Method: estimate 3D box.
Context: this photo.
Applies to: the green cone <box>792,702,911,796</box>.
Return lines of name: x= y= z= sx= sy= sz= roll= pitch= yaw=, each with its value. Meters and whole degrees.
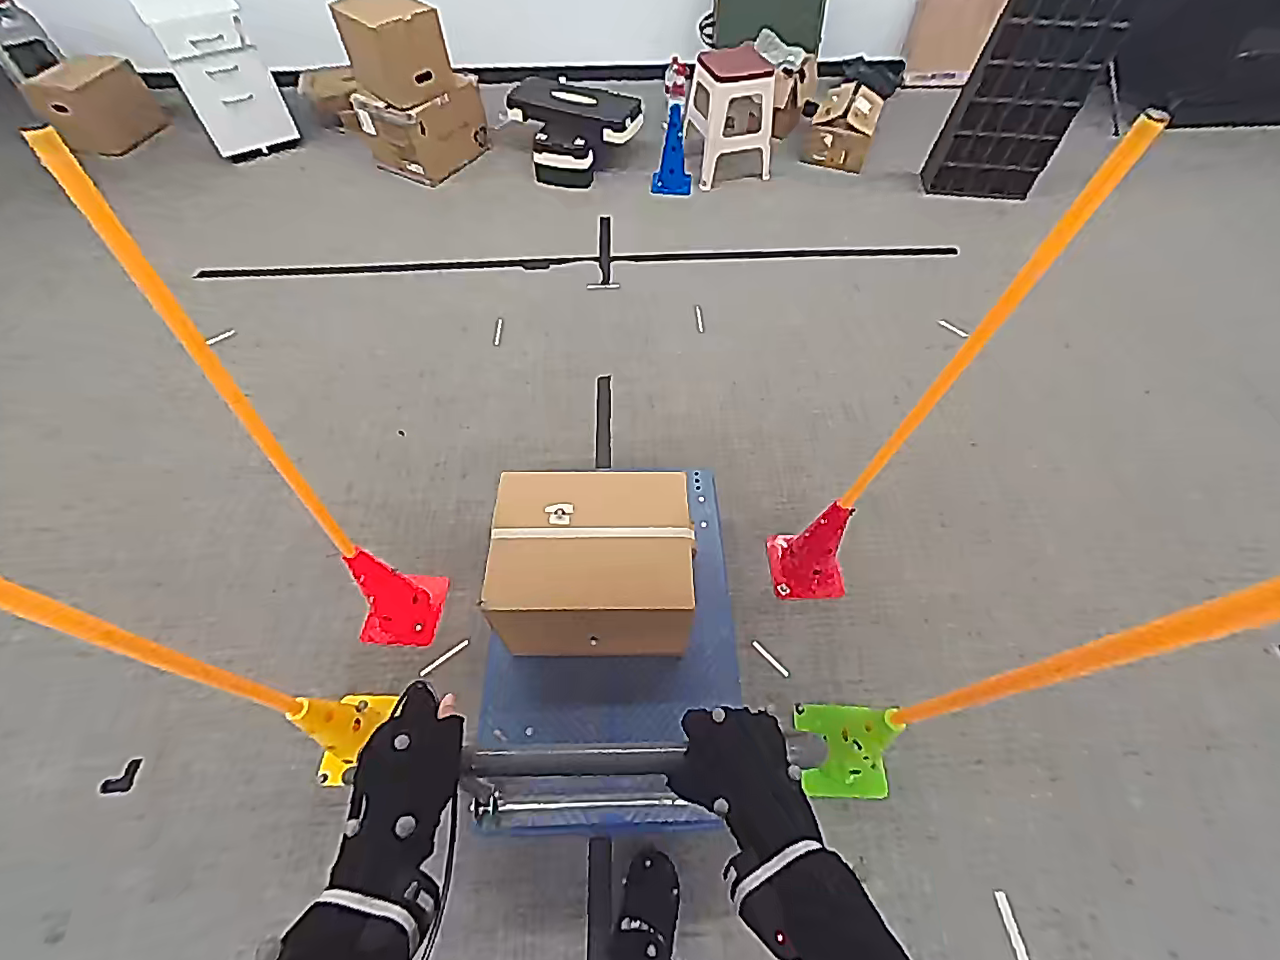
green cone: x=0.480 y=0.550 z=1.164 sx=0.202 sy=0.368 sz=0.200 roll=2 pitch=56 yaw=0

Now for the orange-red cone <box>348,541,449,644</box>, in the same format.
orange-red cone: x=-0.644 y=0.250 z=1.357 sx=0.198 sy=0.360 sz=0.199 roll=5 pitch=55 yaw=2

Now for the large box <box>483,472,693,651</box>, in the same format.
large box: x=-0.098 y=0.194 z=1.224 sx=0.408 sy=0.320 sz=0.320 roll=0 pitch=56 yaw=0

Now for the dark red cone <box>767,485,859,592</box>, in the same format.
dark red cone: x=0.483 y=0.138 z=1.421 sx=0.201 sy=0.394 sz=0.202 roll=0 pitch=56 yaw=-3
